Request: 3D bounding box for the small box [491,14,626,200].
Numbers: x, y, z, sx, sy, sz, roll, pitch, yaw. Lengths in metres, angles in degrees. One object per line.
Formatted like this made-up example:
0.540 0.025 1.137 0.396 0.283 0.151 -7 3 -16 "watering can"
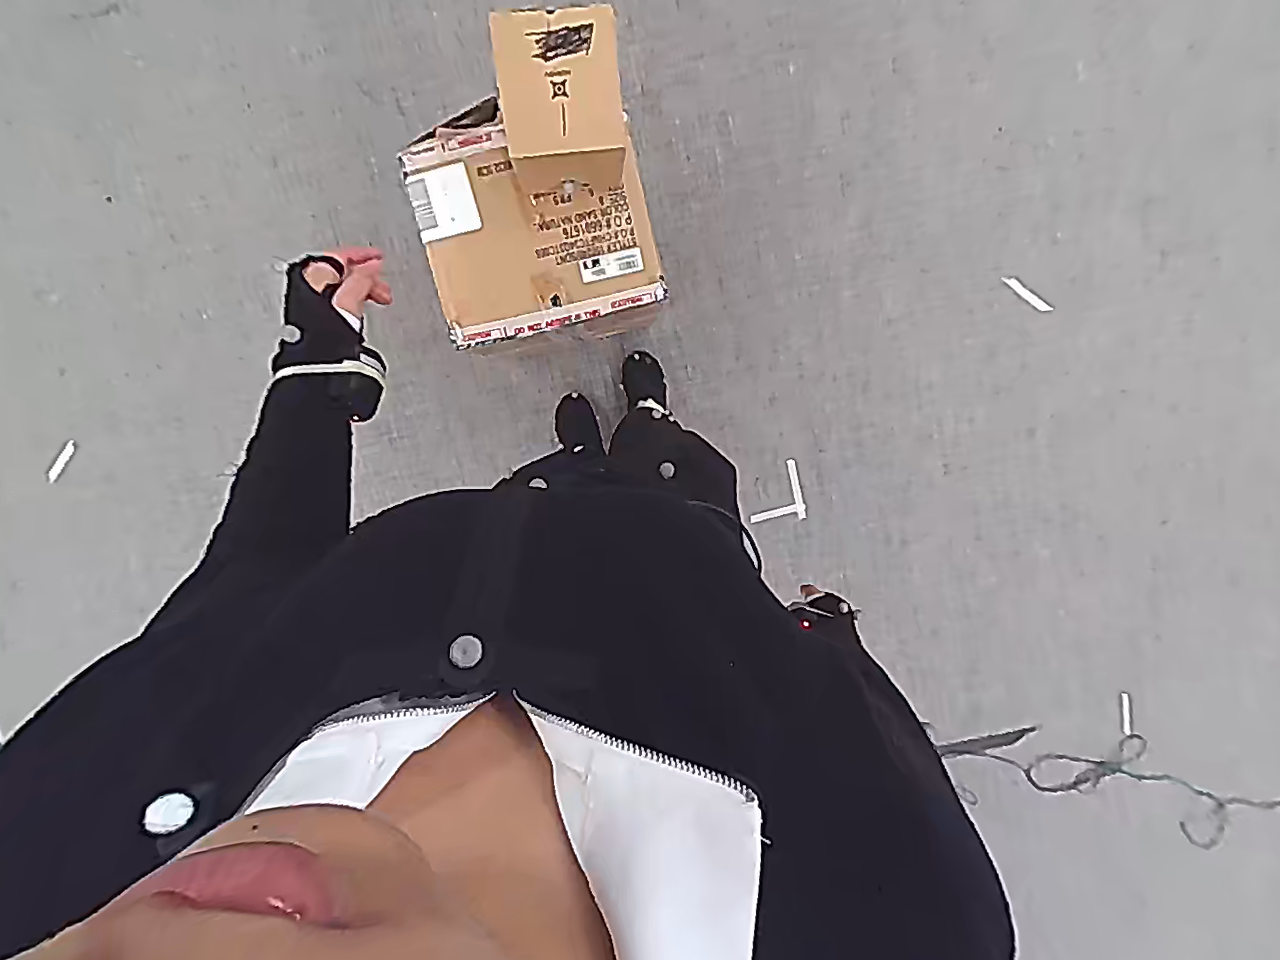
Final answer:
-0.115 -0.541 0.805 0.168 0.176 0.179 -7 103 -3 "small box"
